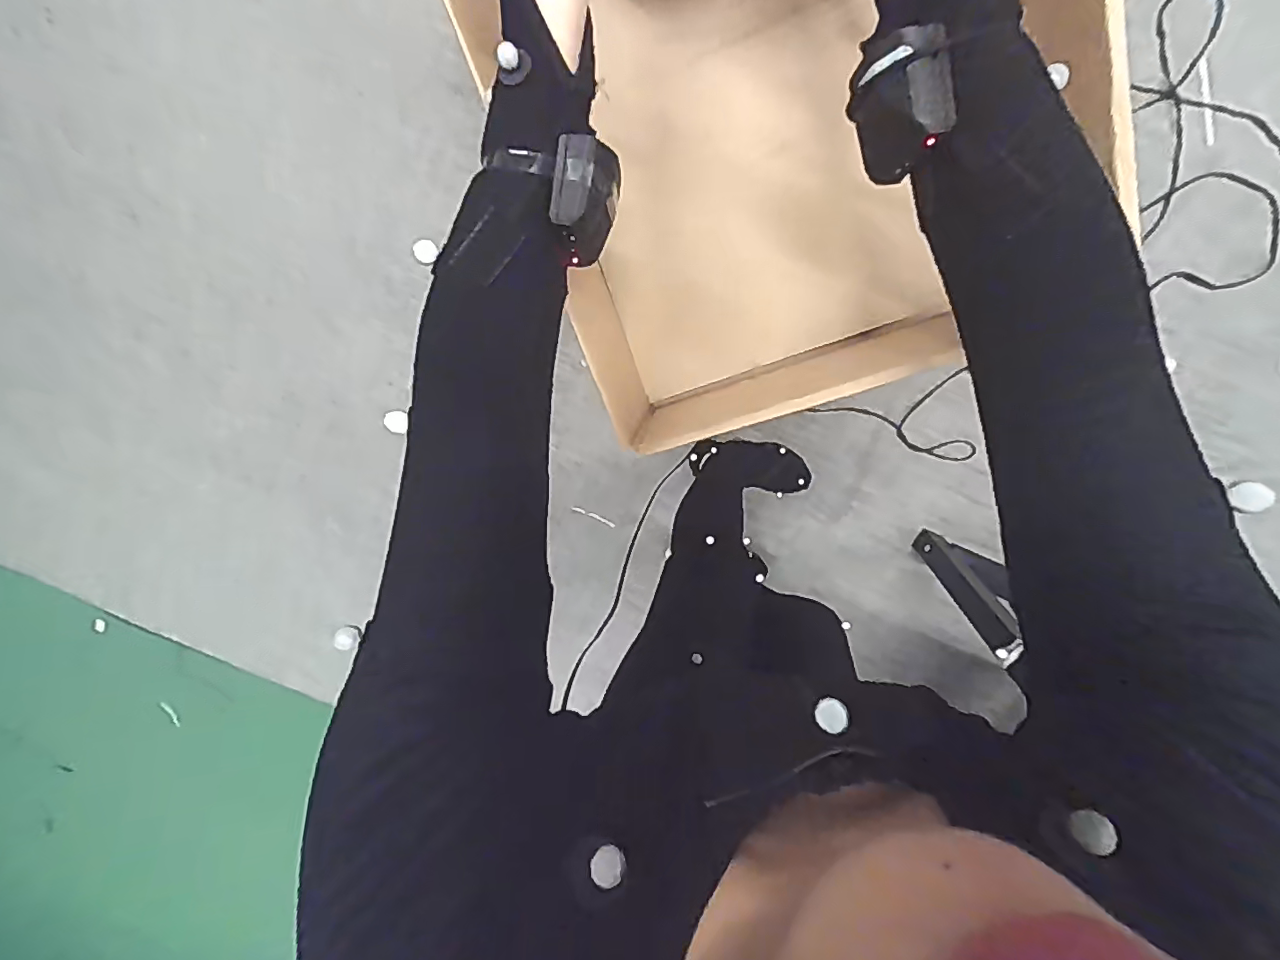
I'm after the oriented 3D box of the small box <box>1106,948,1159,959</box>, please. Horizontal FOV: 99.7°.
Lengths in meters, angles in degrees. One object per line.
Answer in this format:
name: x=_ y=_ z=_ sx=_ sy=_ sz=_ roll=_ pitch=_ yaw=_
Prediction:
small box: x=0.611 y=0.702 z=0.623 sx=0.168 sy=0.176 sz=0.179 roll=32 pitch=111 yaw=-6
